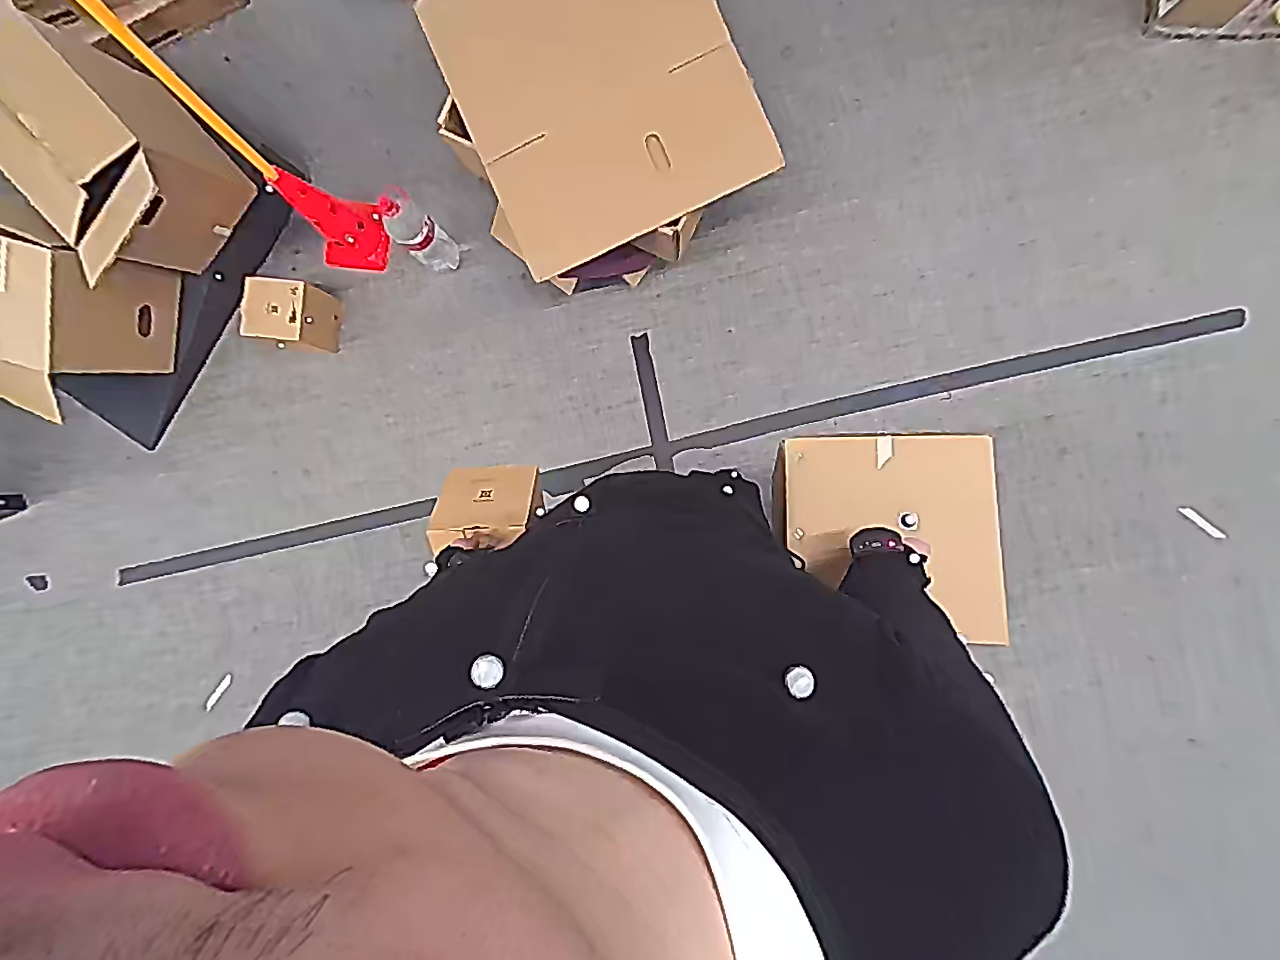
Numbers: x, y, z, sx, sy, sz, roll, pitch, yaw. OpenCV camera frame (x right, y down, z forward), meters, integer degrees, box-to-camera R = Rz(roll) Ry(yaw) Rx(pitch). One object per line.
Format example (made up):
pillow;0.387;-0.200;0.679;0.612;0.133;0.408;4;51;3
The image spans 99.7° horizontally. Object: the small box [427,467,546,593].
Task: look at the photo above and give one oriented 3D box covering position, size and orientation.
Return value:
small box;-0.271;0.096;1.004;0.168;0.179;0.176;-2;126;-1
